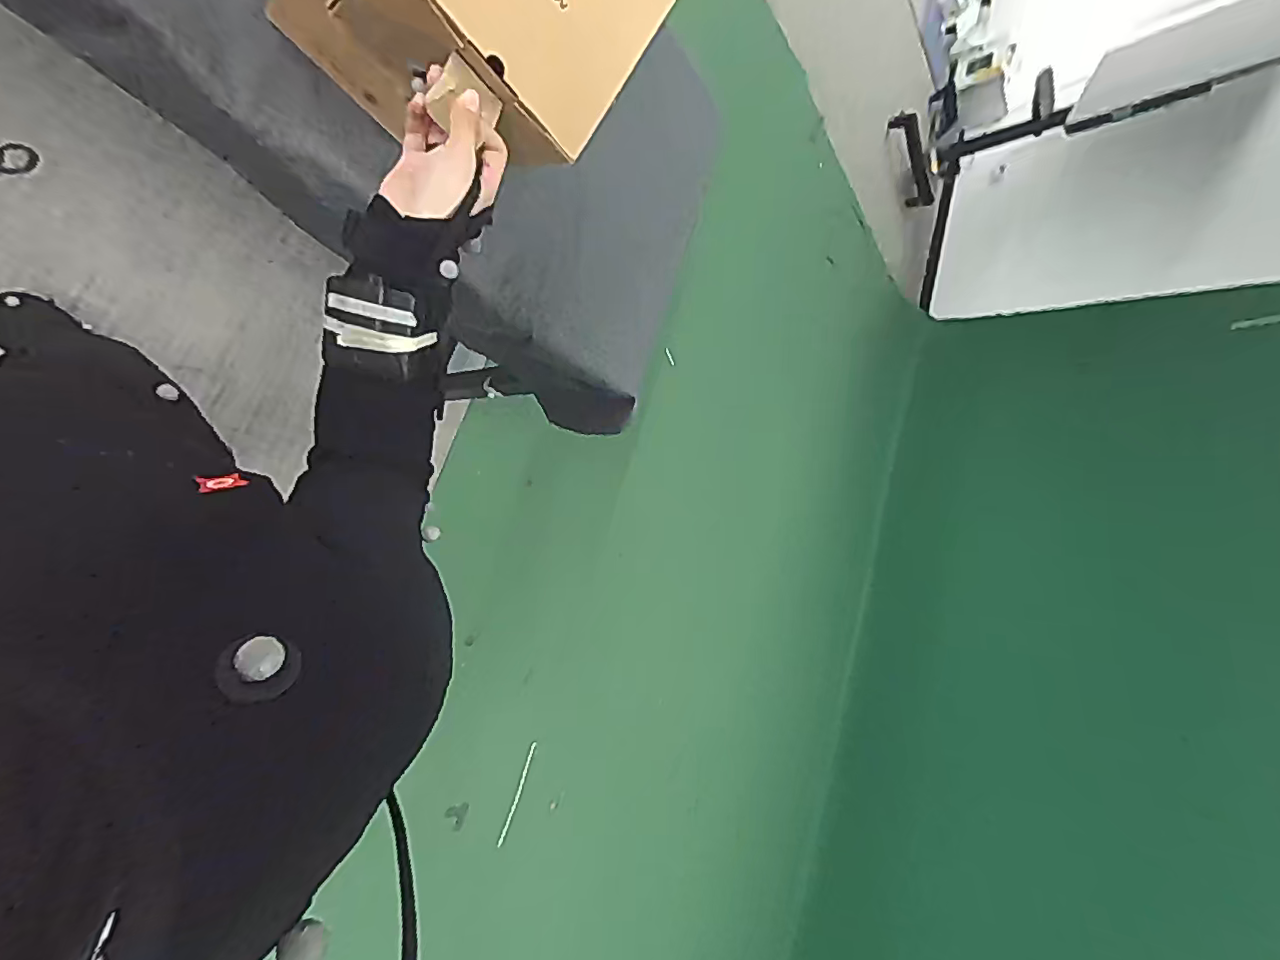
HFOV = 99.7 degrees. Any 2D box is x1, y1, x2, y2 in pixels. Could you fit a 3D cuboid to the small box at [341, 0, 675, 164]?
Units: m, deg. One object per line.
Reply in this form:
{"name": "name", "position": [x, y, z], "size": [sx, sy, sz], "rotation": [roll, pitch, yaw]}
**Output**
{"name": "small box", "position": [-0.106, -0.388, 0.431], "size": [0.168, 0.176, 0.179], "rotation": [33, 89, -47]}

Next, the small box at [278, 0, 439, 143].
{"name": "small box", "position": [-0.238, -0.495, 0.556], "size": [0.168, 0.176, 0.179], "rotation": [37, 67, -44]}
